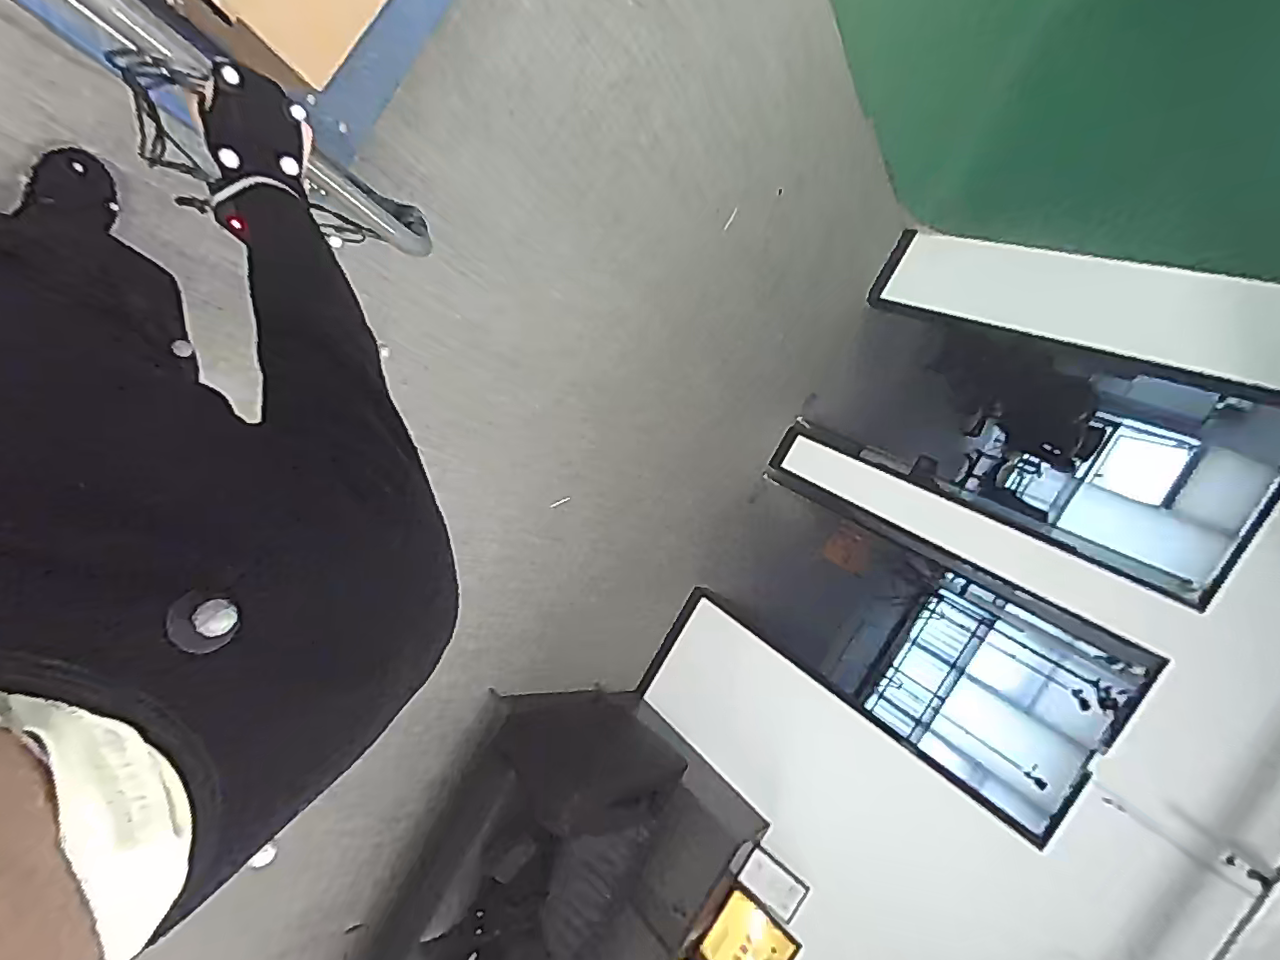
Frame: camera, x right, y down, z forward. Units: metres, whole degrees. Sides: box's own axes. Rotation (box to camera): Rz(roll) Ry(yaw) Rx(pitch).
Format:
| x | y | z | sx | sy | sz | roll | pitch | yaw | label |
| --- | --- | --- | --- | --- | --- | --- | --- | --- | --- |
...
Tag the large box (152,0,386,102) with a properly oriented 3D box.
| x | y | z | sx | sy | sz | roll | pitch | yaw | label |
| --- | --- | --- | --- | --- | --- | --- | --- | --- | --- |
| -0.591 | -0.892 | 0.850 | 0.408 | 0.320 | 0.320 | -57 | 143 | -2 | large box |
